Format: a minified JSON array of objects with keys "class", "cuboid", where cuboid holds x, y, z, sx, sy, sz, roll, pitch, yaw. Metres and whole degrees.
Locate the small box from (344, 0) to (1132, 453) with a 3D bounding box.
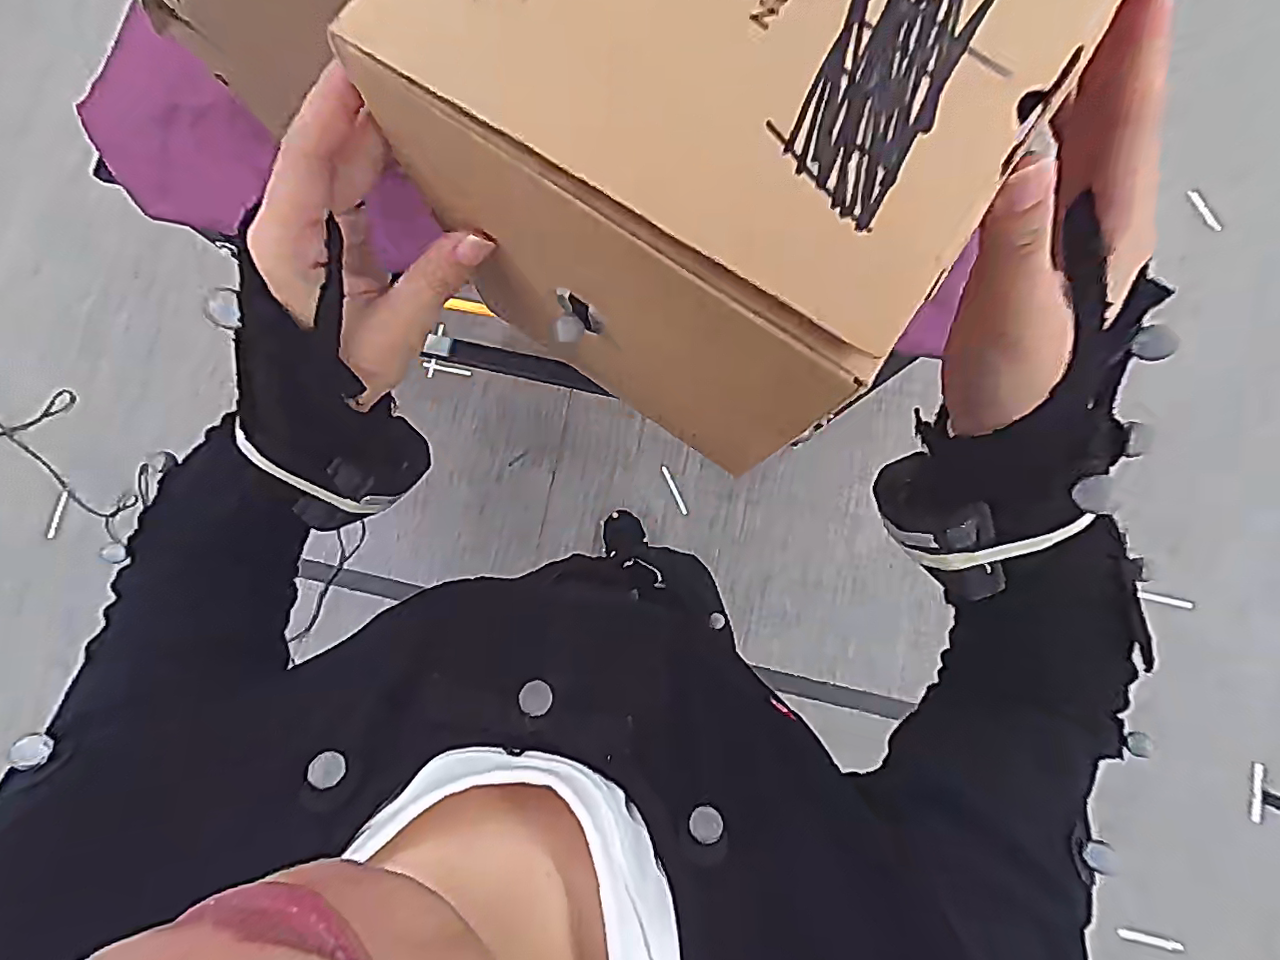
[{"class":"small box","cuboid":[0.034,-0.127,0.230,0.179,0.176,0.168,34,83,5]}]
